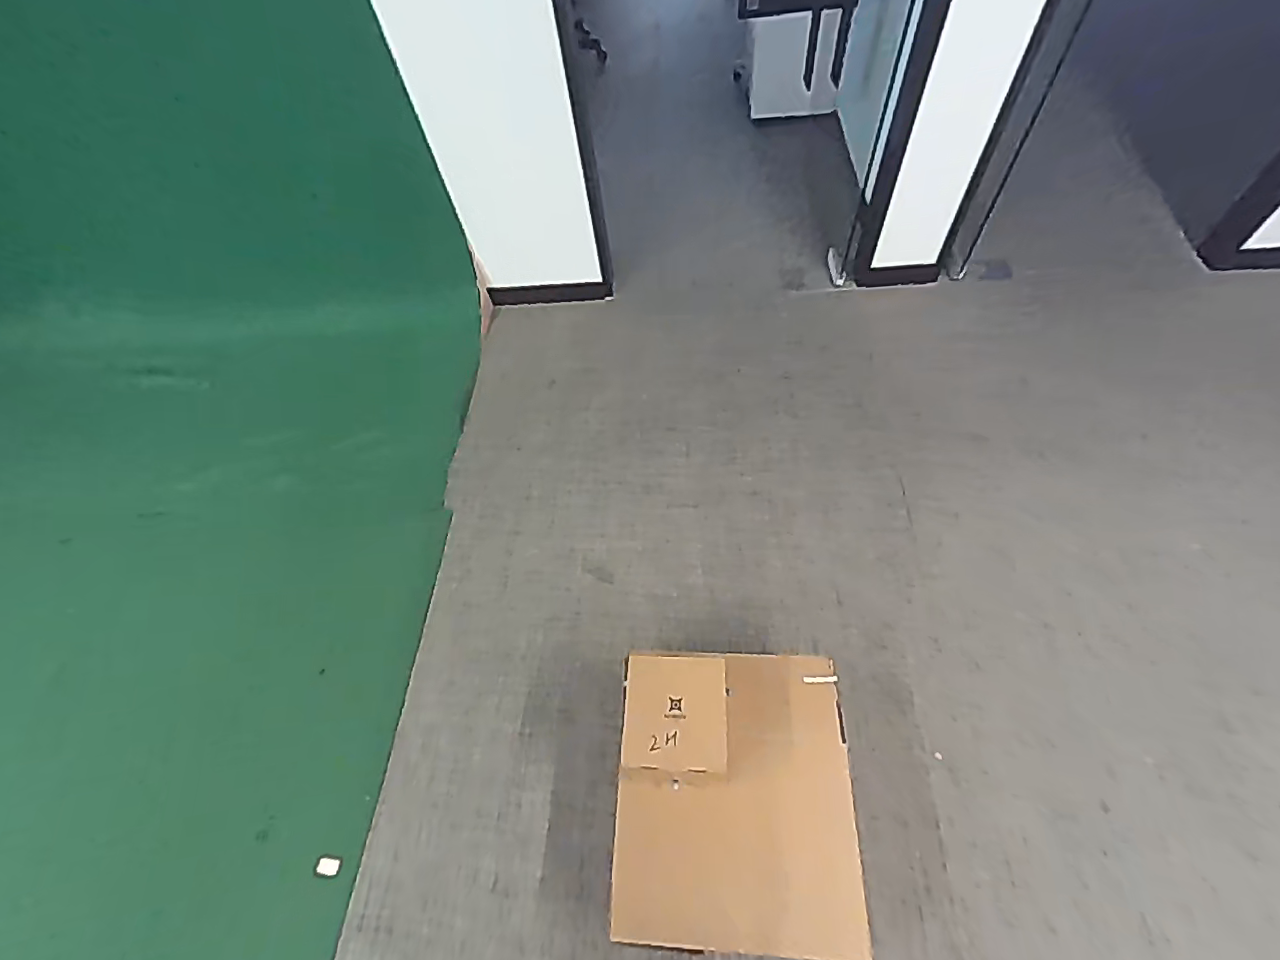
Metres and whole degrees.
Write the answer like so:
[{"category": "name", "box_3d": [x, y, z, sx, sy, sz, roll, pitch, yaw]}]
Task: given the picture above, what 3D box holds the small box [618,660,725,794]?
[{"category": "small box", "box_3d": [0.059, 0.428, 0.935, 0.168, 0.176, 0.179, -1, 54, 7]}]
